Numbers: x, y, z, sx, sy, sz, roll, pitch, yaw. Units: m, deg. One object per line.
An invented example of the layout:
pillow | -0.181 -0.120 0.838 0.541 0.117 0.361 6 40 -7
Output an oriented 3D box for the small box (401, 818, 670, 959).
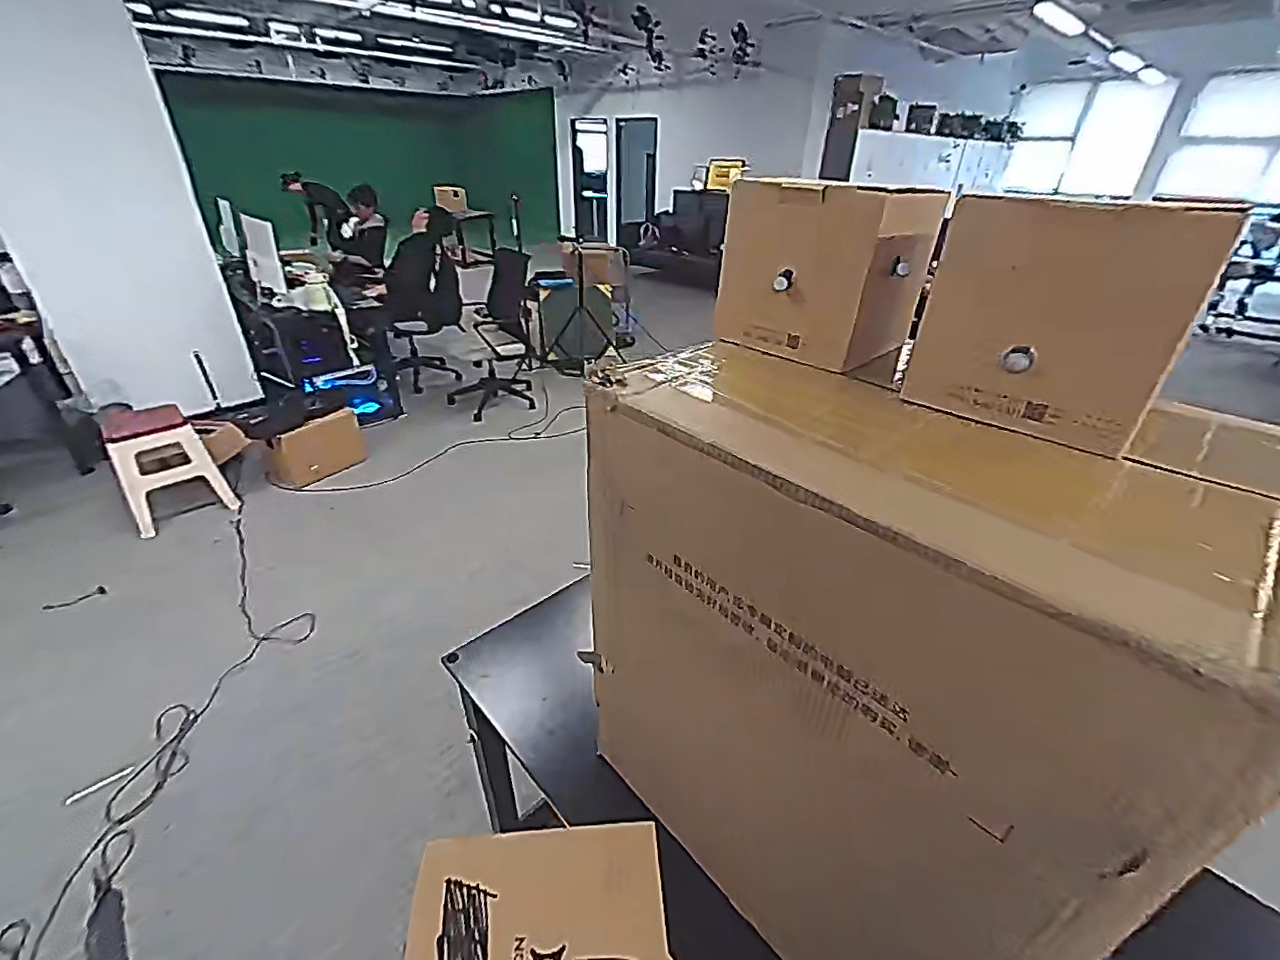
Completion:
small box | -0.066 0.376 0.386 0.179 0.176 0.168 -3 32 -4

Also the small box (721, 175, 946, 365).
small box | 0.204 -0.237 0.600 0.168 0.176 0.179 27 39 34

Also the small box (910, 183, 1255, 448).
small box | 0.355 -0.147 0.456 0.168 0.176 0.179 27 38 37
